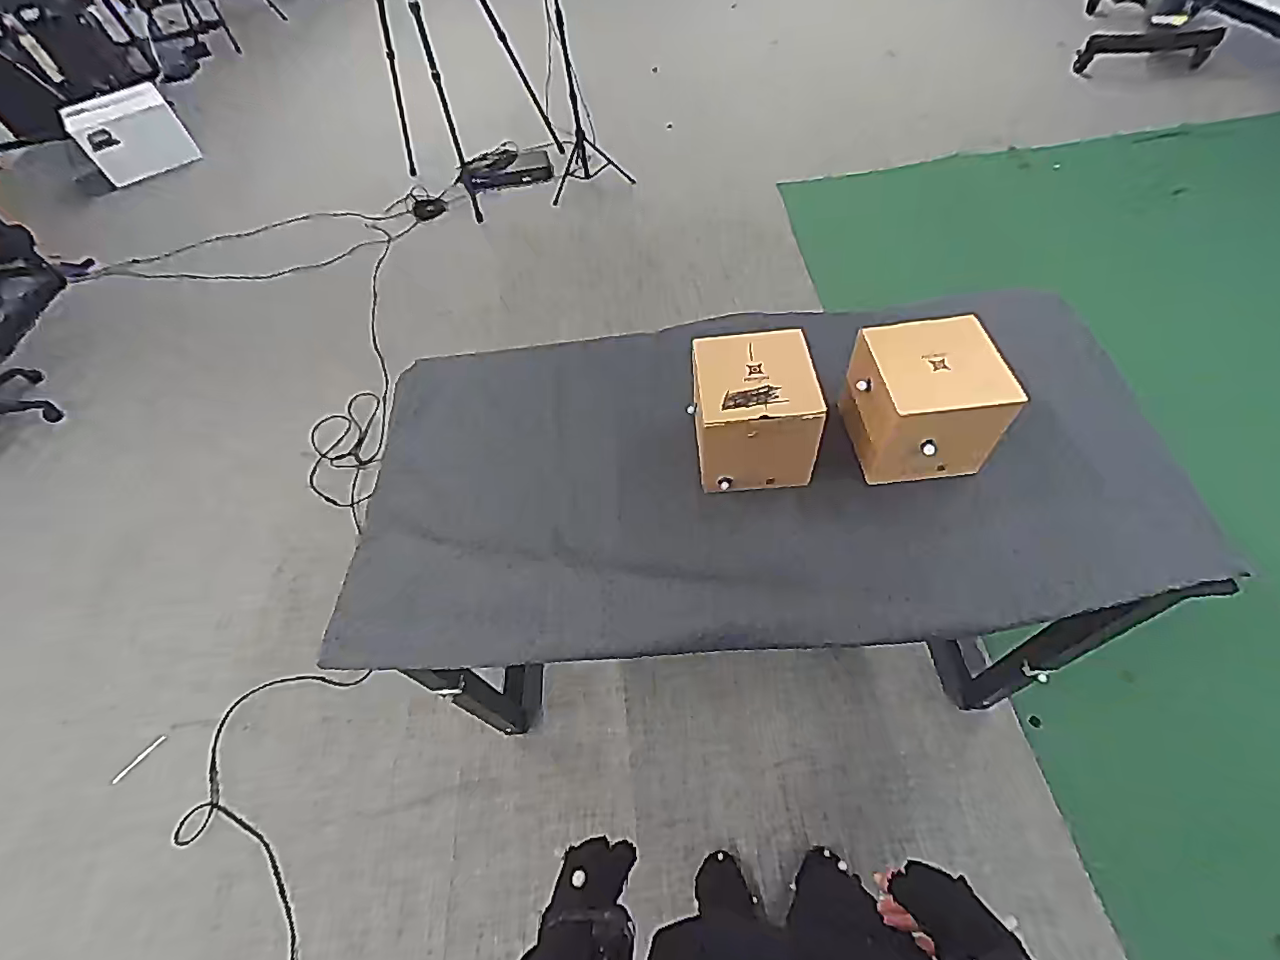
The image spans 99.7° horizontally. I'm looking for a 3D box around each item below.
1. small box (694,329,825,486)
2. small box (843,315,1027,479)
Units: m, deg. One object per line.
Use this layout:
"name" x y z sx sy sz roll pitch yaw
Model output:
"small box" 0.173 -0.101 0.826 0.168 0.176 0.179 -4 54 4
"small box" 0.419 -0.114 0.804 0.168 0.176 0.179 -6 54 3
